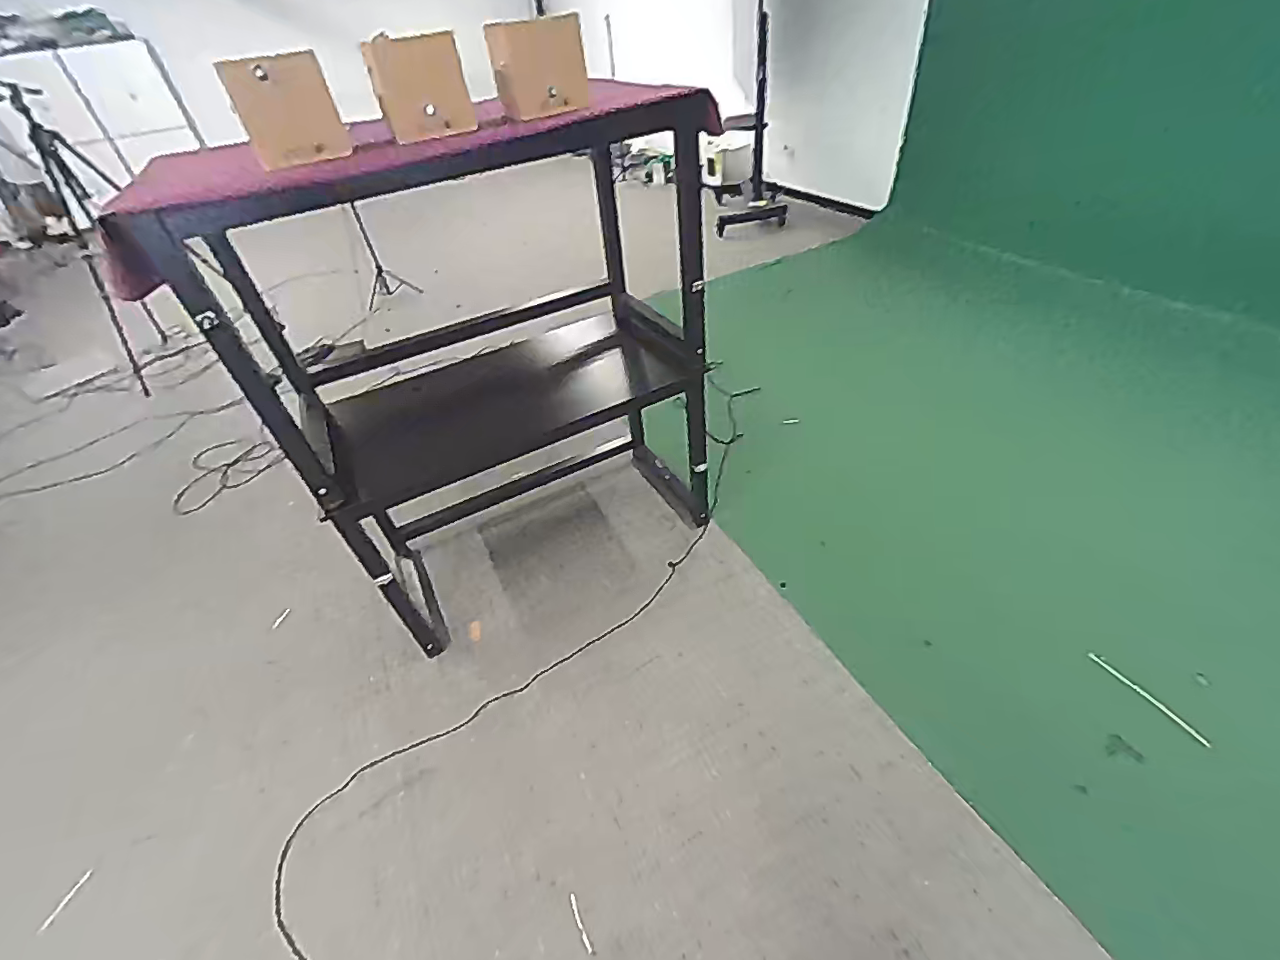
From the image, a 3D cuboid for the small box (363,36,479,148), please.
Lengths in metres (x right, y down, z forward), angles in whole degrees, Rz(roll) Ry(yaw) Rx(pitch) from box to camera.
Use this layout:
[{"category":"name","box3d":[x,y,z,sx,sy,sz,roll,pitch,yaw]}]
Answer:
[{"category":"small box","box3d":[-0.454,-0.807,1.128,0.168,0.176,0.179,-23,43,-17]}]

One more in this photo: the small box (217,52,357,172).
[{"category":"small box","box3d":[-0.675,-0.712,1.051,0.168,0.176,0.179,-24,42,-17]}]
